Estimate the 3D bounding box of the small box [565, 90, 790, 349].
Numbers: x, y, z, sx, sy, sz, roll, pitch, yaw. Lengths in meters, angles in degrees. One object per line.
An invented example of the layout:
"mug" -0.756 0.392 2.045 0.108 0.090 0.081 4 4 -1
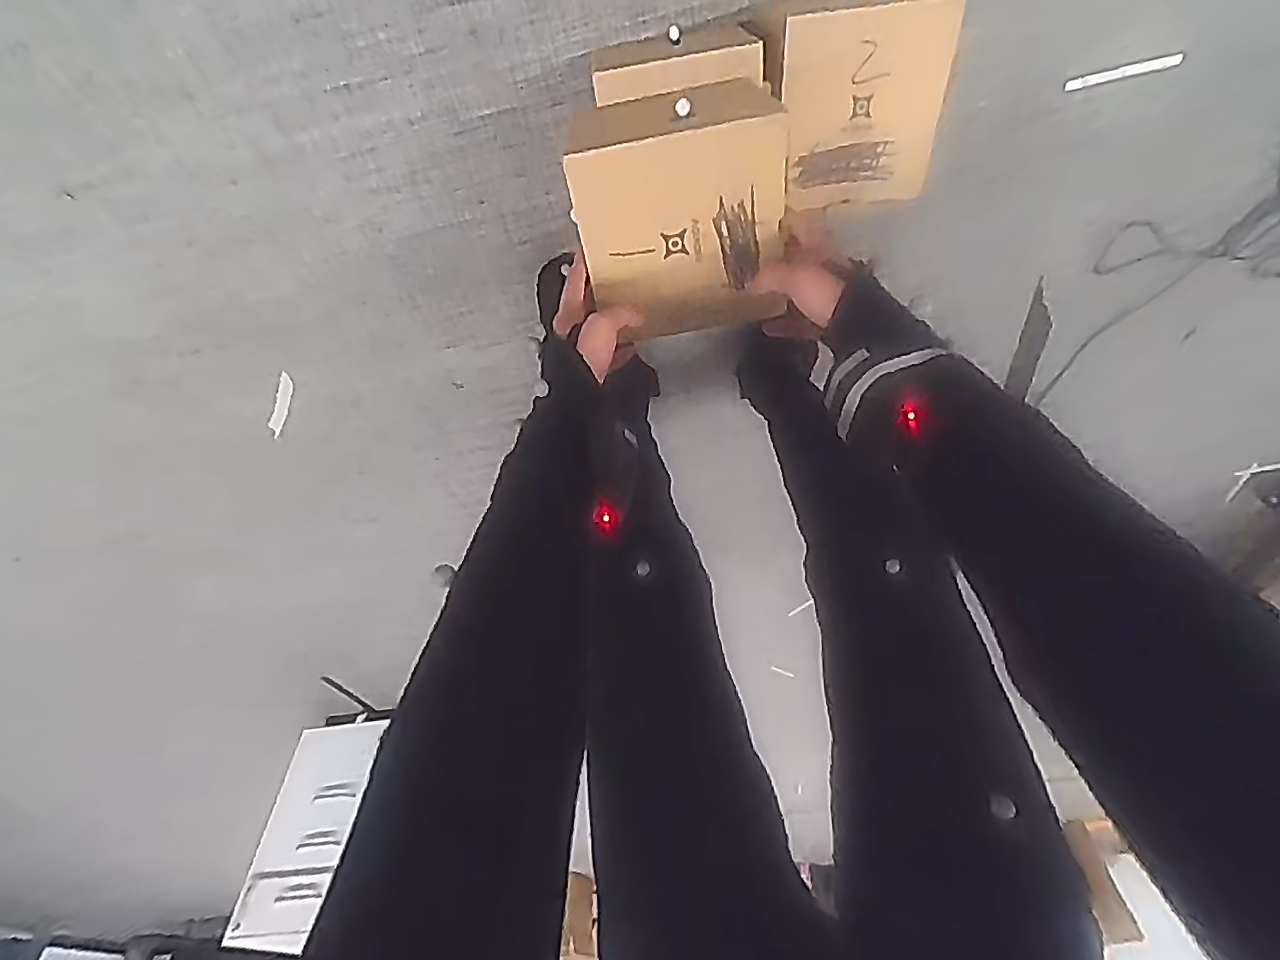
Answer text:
"small box" 0.034 -0.251 0.517 0.179 0.176 0.168 -8 133 5
